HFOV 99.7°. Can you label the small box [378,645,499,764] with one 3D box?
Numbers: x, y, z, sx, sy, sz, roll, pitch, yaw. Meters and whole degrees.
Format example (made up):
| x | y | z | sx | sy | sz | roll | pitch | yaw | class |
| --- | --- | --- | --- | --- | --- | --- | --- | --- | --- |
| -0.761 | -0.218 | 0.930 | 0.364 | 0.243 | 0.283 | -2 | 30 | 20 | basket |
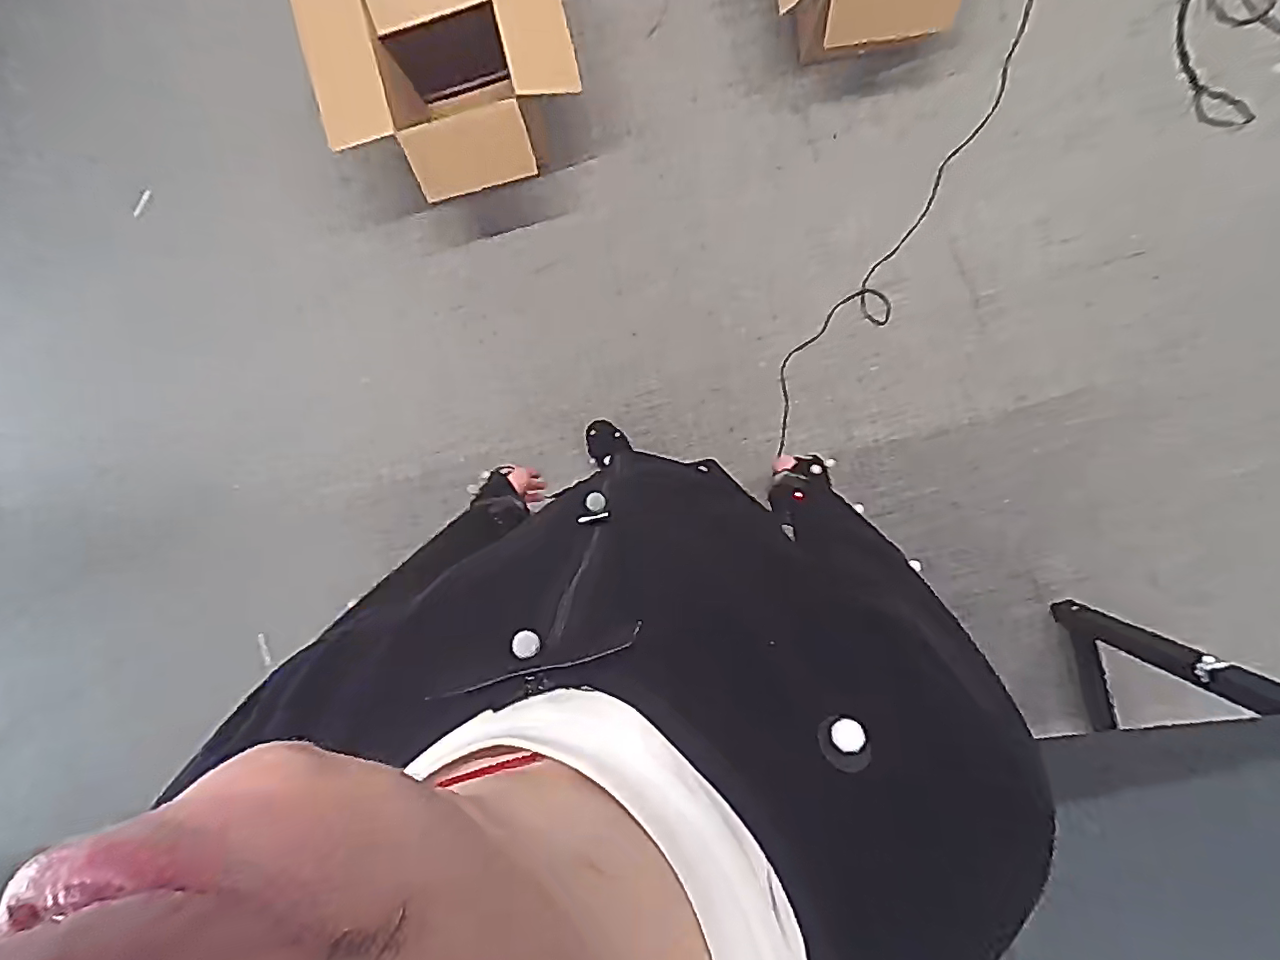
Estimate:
| x | y | z | sx | sy | sz | roll | pitch | yaw | class |
| --- | --- | --- | --- | --- | --- | --- | --- | --- | --- |
| -0.444 | 0.491 | 1.214 | 0.168 | 0.176 | 0.179 | -22 | 92 | 6 | small box |
